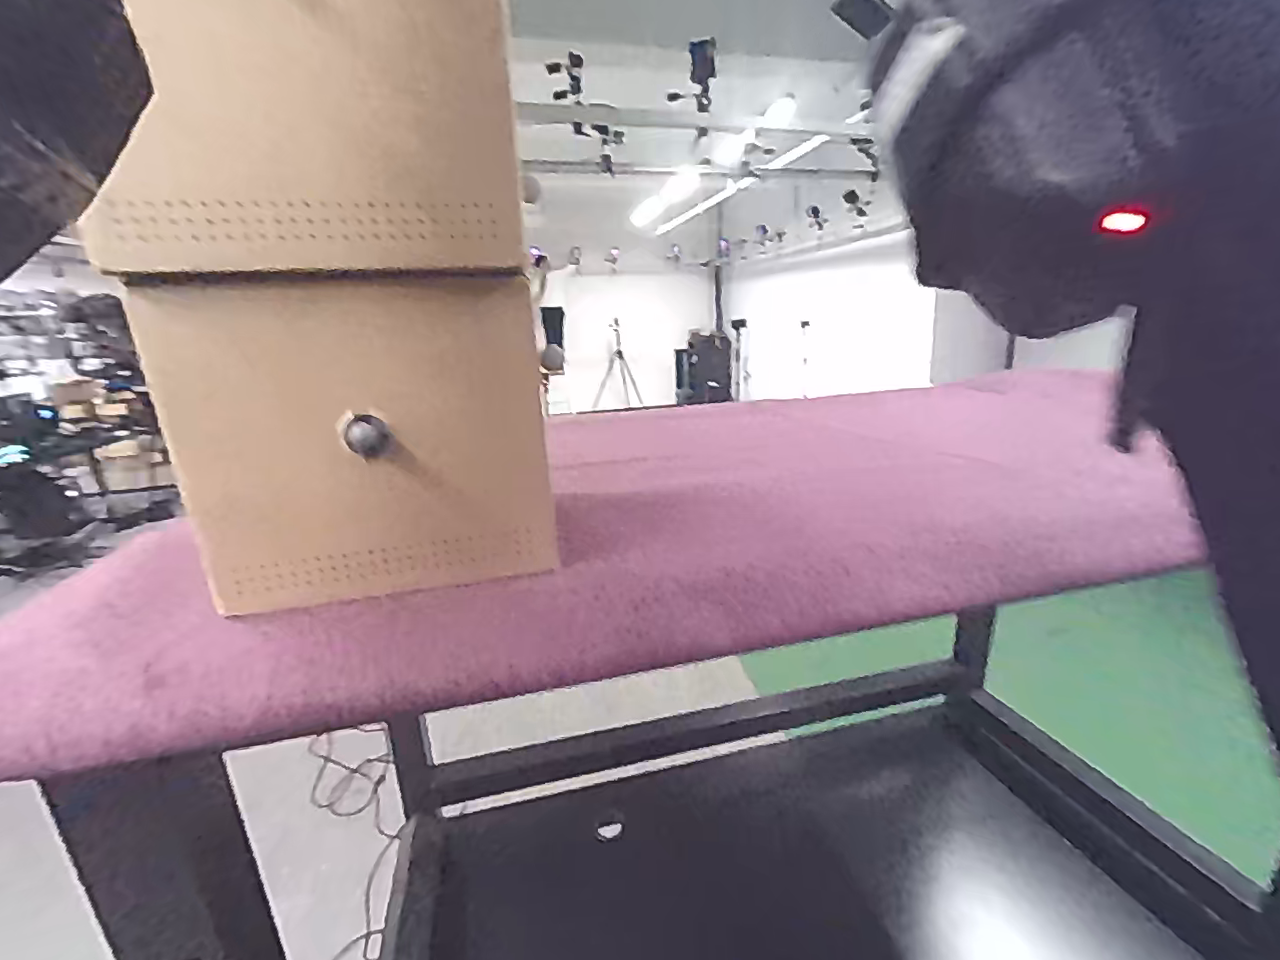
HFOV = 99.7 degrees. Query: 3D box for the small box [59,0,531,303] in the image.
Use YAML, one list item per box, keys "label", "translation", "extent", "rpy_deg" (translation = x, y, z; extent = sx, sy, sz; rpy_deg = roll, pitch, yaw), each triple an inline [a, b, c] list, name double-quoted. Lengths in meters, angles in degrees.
- label: "small box"
  translation: [-0.158, -0.190, 0.294]
  extent: [0.179, 0.176, 0.168]
  rpy_deg: [-5, 17, -13]
